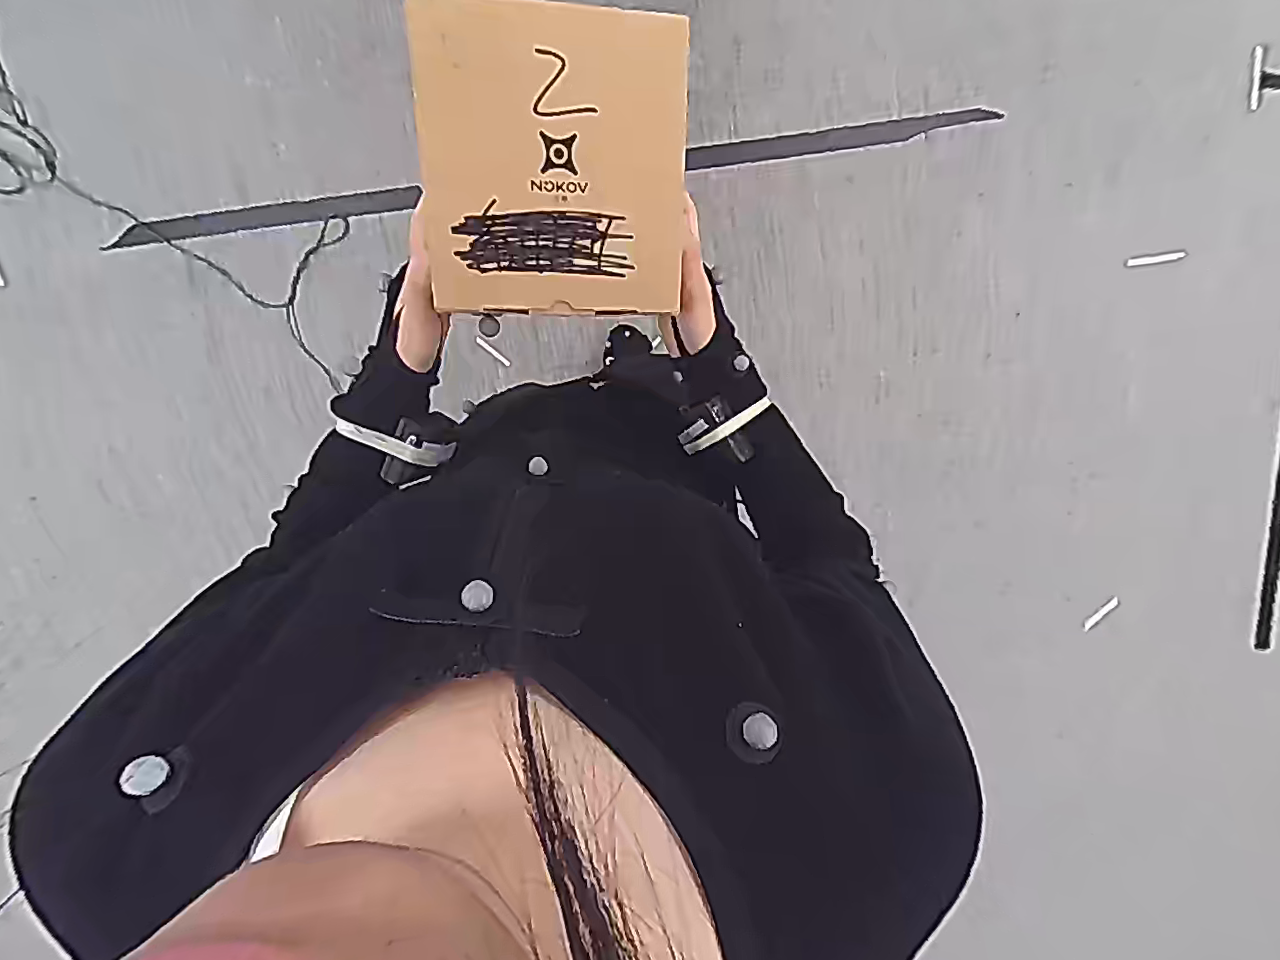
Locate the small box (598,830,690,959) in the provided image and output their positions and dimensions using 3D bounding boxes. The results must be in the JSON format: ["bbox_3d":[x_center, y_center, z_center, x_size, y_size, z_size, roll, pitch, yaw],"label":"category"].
[{"bbox_3d":[0.010,0.886,1.138,0.168,0.176,0.179,-9,101,0],"label":"small box"}]

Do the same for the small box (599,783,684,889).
[{"bbox_3d":[0.001,0.861,1.299,0.179,0.176,0.168,-10,101,1],"label":"small box"}]
